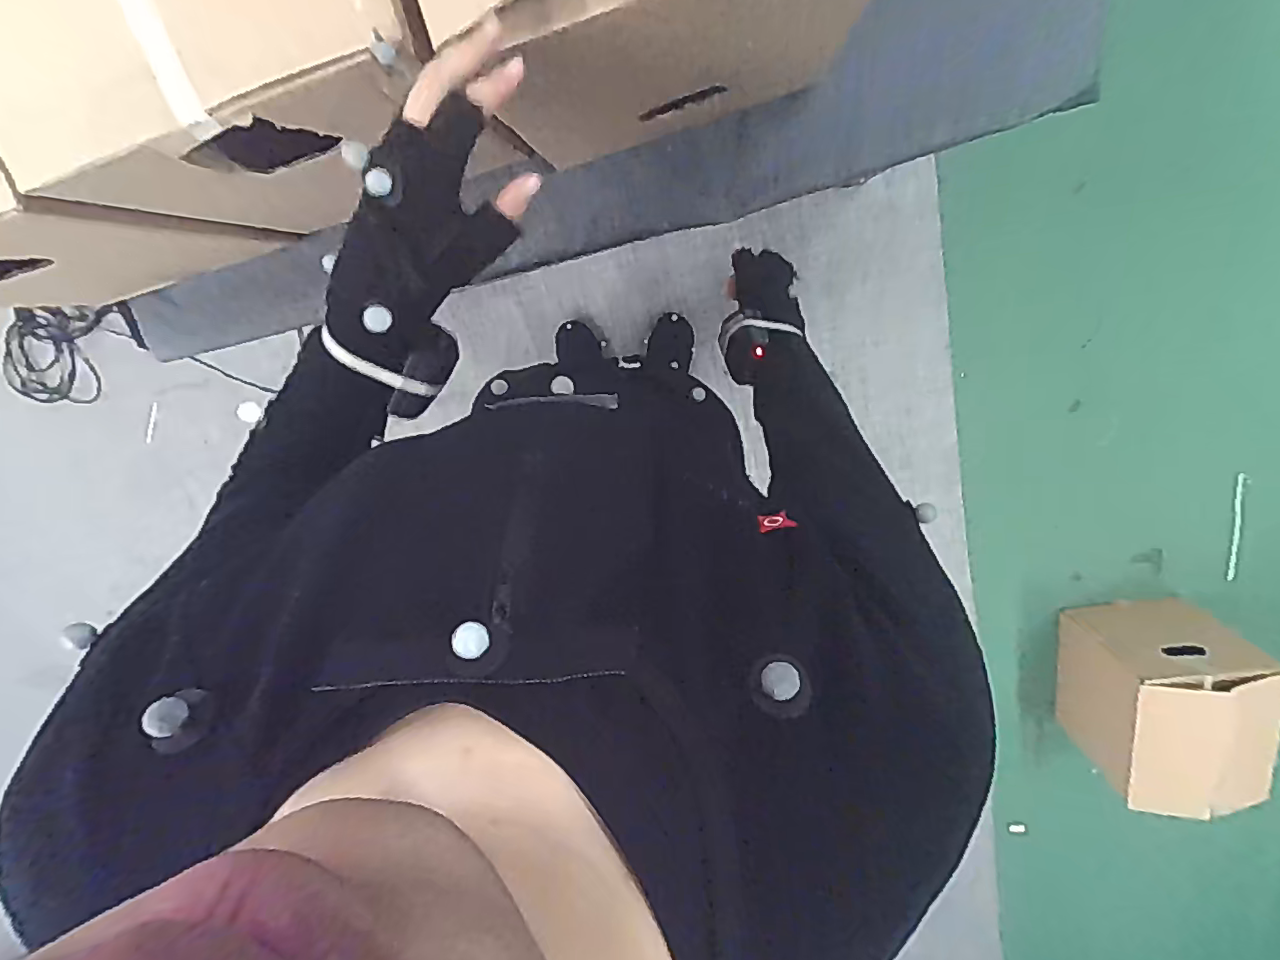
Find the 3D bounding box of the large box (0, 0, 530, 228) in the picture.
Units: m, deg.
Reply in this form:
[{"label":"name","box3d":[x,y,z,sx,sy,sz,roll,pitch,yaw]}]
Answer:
[{"label":"large box","box3d":[-0.331,-0.476,0.449,0.320,0.320,0.408,-13,108,10]}]
